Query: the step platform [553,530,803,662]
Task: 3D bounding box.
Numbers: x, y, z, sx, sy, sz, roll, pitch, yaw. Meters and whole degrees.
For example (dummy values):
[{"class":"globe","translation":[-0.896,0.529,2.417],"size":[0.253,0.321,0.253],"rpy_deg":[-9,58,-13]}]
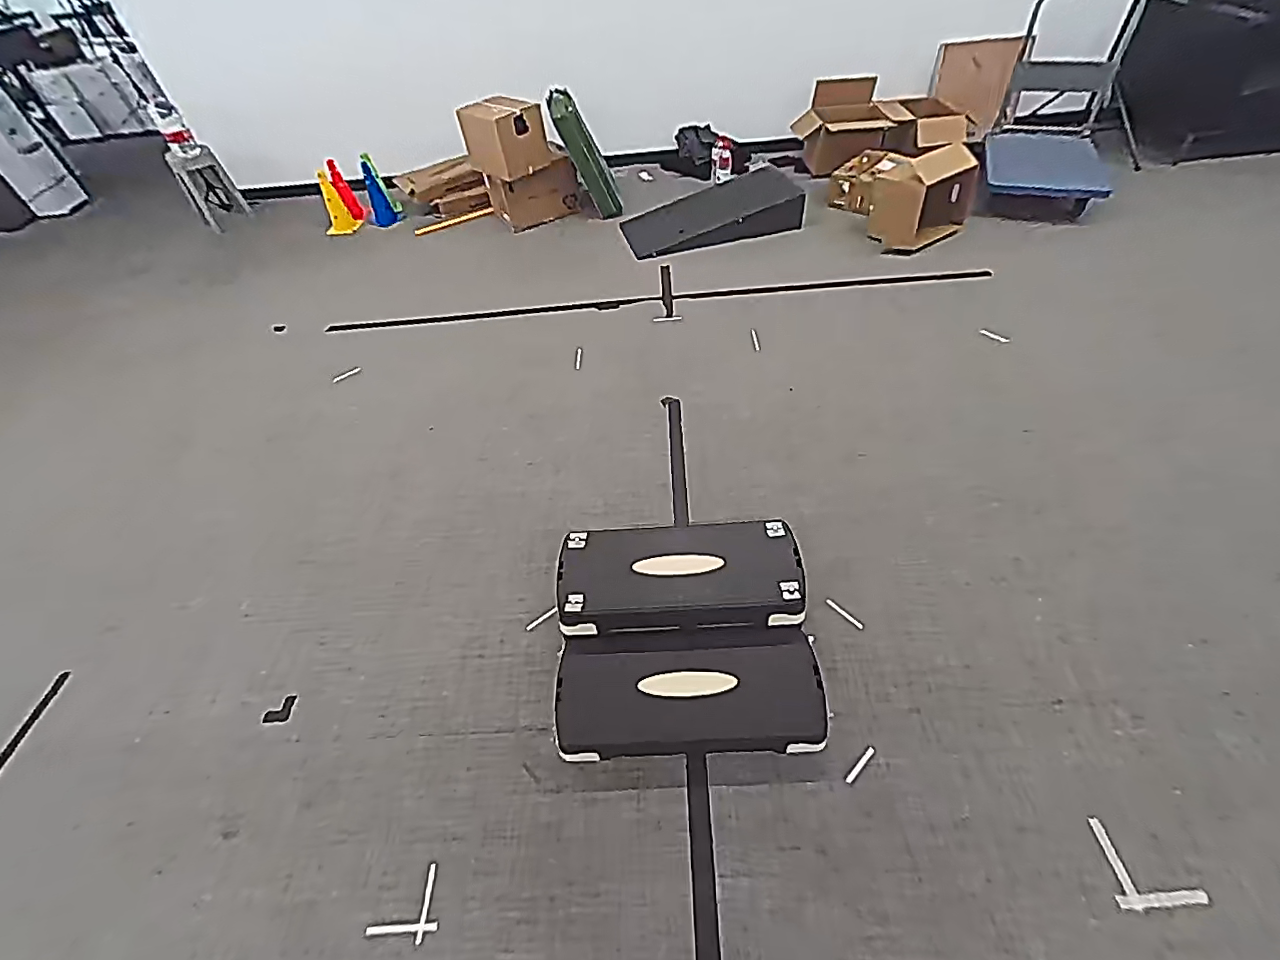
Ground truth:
[{"class":"step platform","translation":[0.100,0.319,1.518],"size":[0.684,0.204,0.286],"rpy_deg":[-4,49,2]}]
